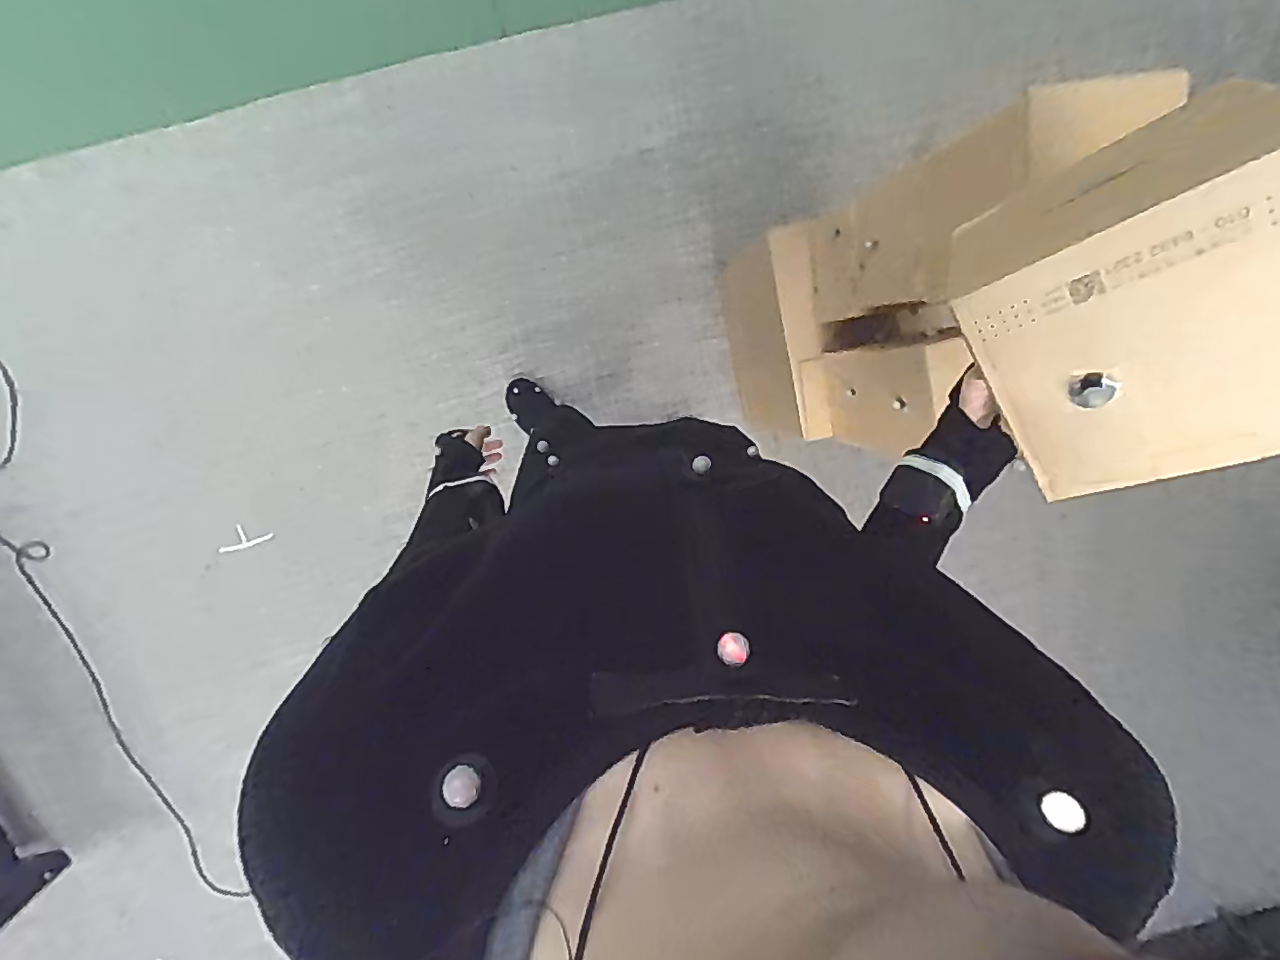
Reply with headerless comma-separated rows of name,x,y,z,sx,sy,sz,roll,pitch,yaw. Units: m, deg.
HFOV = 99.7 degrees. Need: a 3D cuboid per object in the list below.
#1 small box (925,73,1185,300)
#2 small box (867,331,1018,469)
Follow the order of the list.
small box,0.445,-0.312,0.608,0.168,0.176,0.179,-8,103,-3
small box,0.466,-0.129,0.810,0.168,0.176,0.179,-14,100,-2
